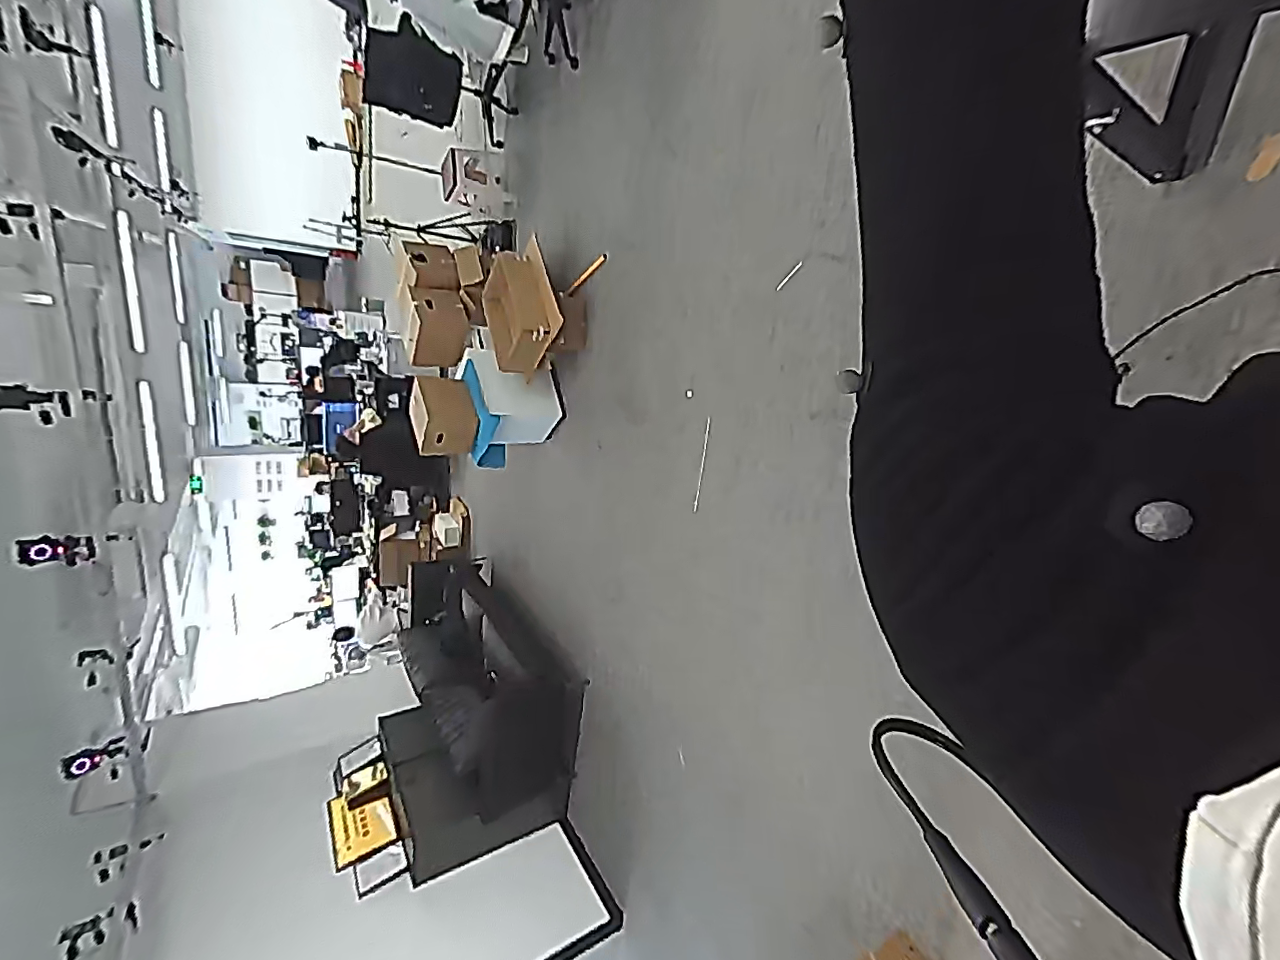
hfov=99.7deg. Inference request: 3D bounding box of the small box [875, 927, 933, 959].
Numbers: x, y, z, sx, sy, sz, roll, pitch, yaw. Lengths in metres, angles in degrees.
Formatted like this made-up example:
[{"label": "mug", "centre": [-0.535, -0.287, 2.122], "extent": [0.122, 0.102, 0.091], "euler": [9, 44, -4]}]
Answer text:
[{"label": "small box", "centre": [0.874, 1.647, 1.792], "extent": [0.168, 0.176, 0.179], "euler": [41, 125, 48]}]
